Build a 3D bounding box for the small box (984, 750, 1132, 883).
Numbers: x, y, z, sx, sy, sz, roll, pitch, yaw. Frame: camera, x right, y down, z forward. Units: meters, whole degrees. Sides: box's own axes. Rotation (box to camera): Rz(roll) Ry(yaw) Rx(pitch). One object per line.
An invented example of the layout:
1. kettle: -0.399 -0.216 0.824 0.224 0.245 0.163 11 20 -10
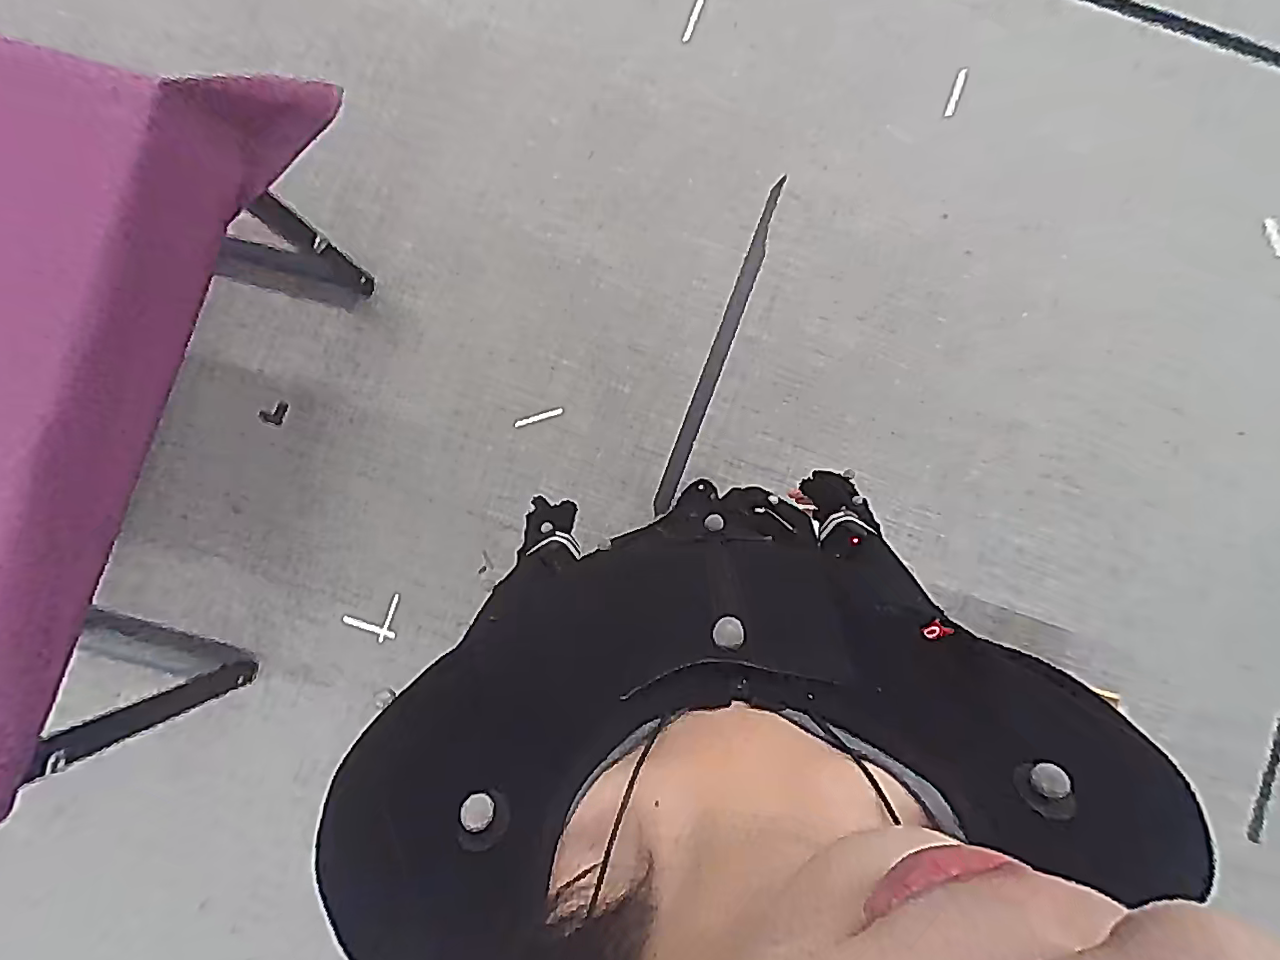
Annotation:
1. small box: 0.913 0.732 1.196 0.179 0.176 0.168 16 89 2
